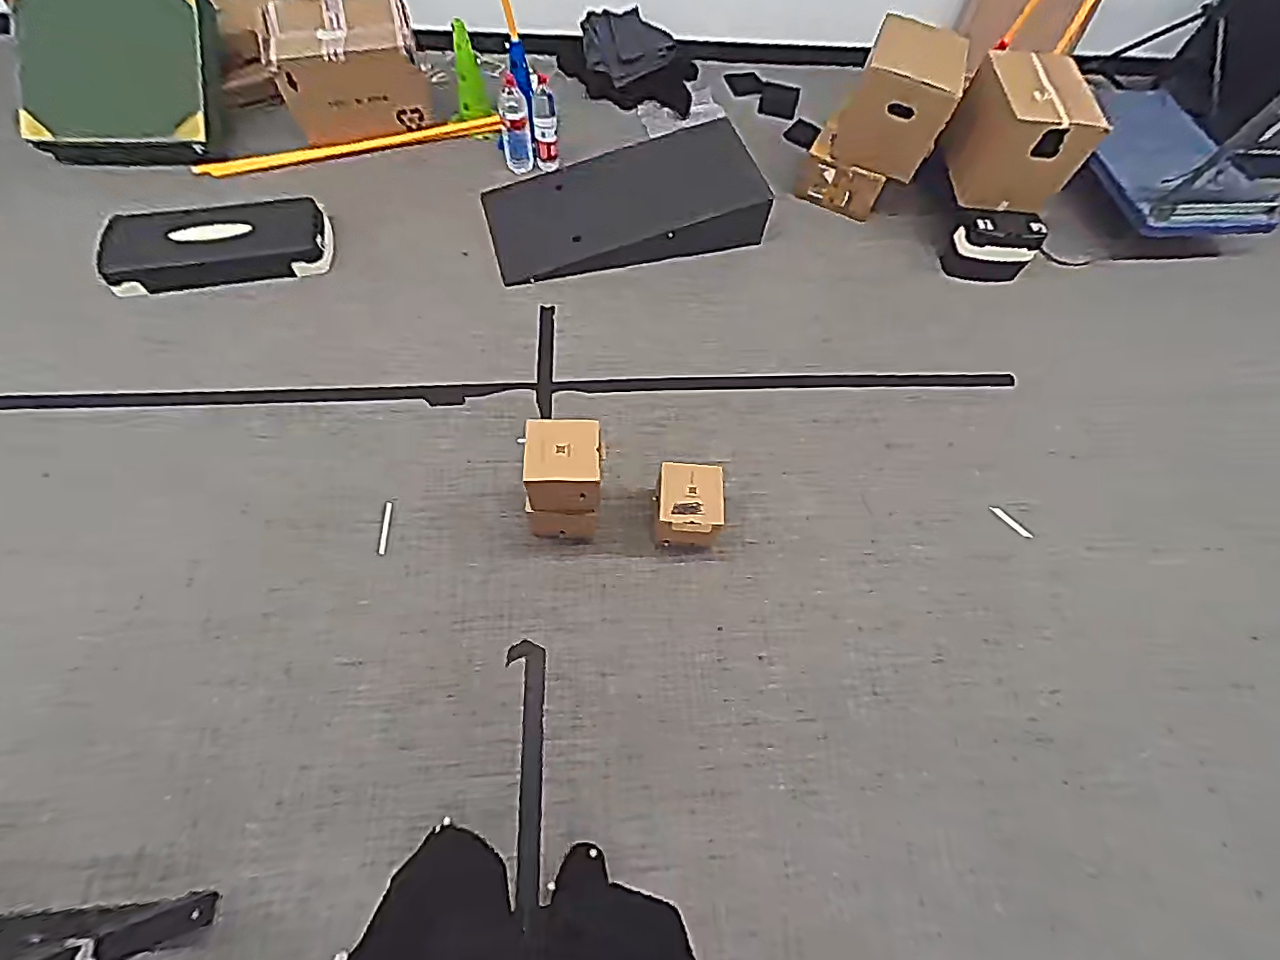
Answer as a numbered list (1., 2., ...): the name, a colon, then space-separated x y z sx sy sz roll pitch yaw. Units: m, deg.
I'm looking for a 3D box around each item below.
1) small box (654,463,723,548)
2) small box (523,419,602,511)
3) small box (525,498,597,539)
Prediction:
1. small box: 0.128 0.074 1.471 0.168 0.176 0.179 5 63 -3
2. small box: -0.182 -0.032 1.313 0.179 0.176 0.168 0 63 -4
3. small box: -0.203 0.052 1.453 0.179 0.176 0.168 5 63 -3
